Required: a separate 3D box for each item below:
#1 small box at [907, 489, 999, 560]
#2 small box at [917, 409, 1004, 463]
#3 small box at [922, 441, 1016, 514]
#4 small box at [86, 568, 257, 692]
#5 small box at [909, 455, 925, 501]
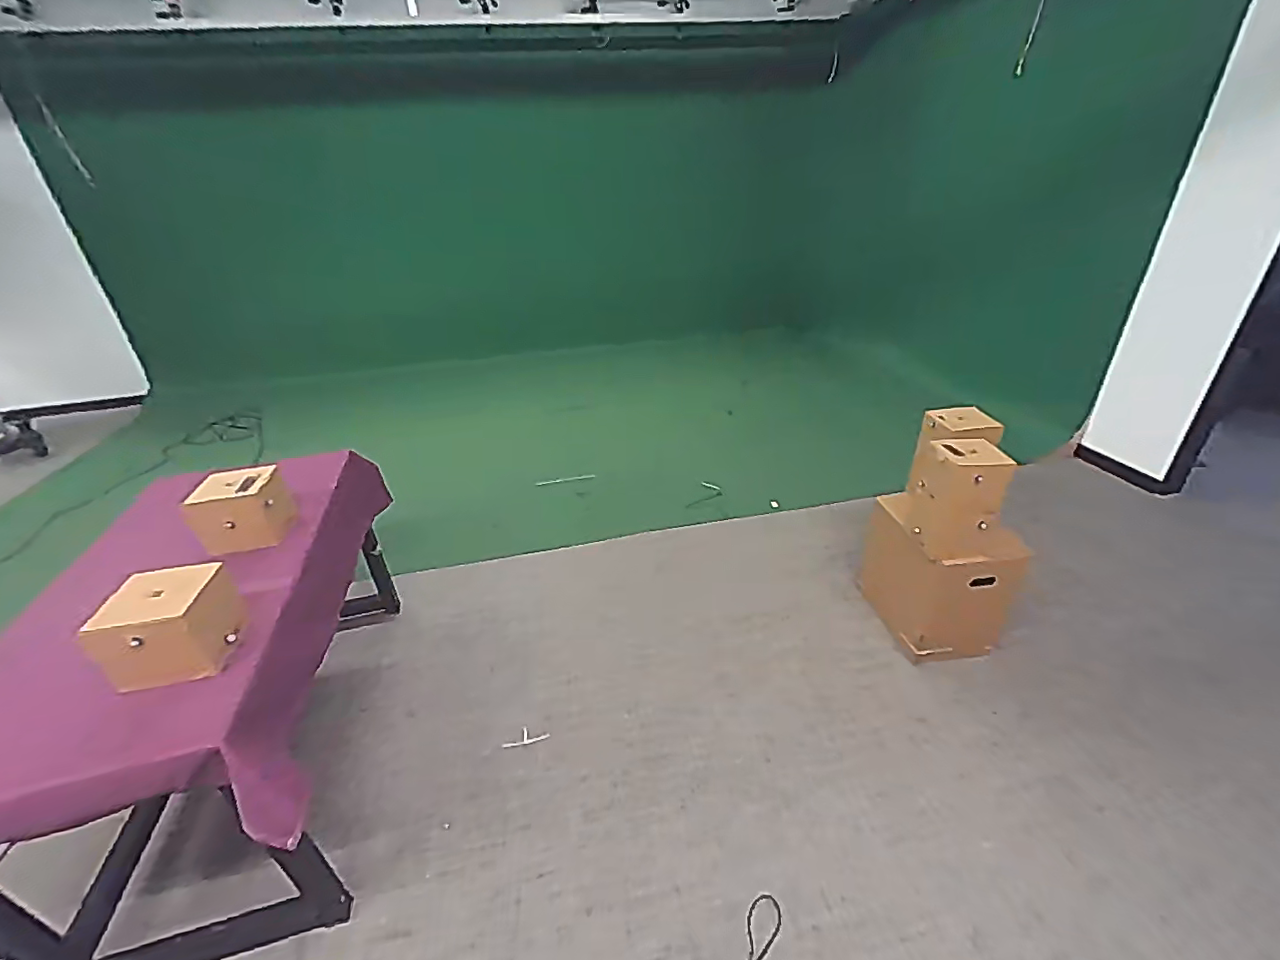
[{"bbox_3d":[0.980,0.137,1.709,0.179,0.176,0.168,-4,29,-3],"label":"small box"},{"bbox_3d":[1.073,-0.127,1.826,0.179,0.176,0.168,-5,29,-2],"label":"small box"},{"bbox_3d":[0.977,-0.007,1.629,0.179,0.176,0.168,-1,30,-1],"label":"small box"},{"bbox_3d":[-0.934,0.305,1.101,0.179,0.176,0.168,-8,30,-7],"label":"small box"},{"bbox_3d":[1.085,0.014,1.913,0.168,0.176,0.179,-6,30,-5],"label":"small box"}]
